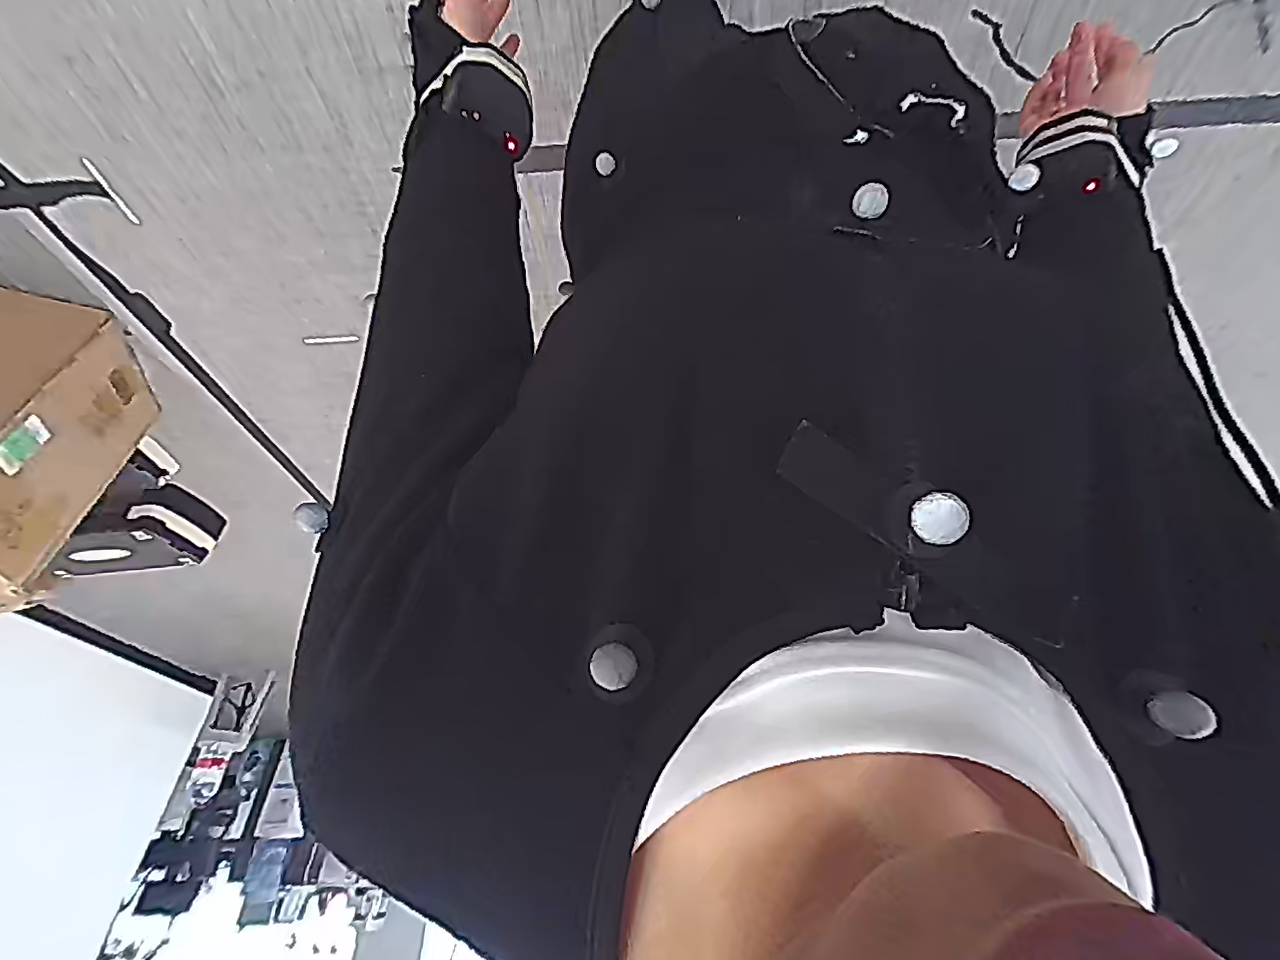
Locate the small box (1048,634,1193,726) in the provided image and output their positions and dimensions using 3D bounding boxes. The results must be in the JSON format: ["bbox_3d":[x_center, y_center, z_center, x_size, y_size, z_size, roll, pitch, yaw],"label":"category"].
[{"bbox_3d":[1.132,0.478,1.296,0.179,0.176,0.168,-3,143,7],"label":"small box"}]

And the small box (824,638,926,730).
[{"bbox_3d":[0.564,0.500,1.328,0.179,0.176,0.168,-5,142,5],"label":"small box"}]
